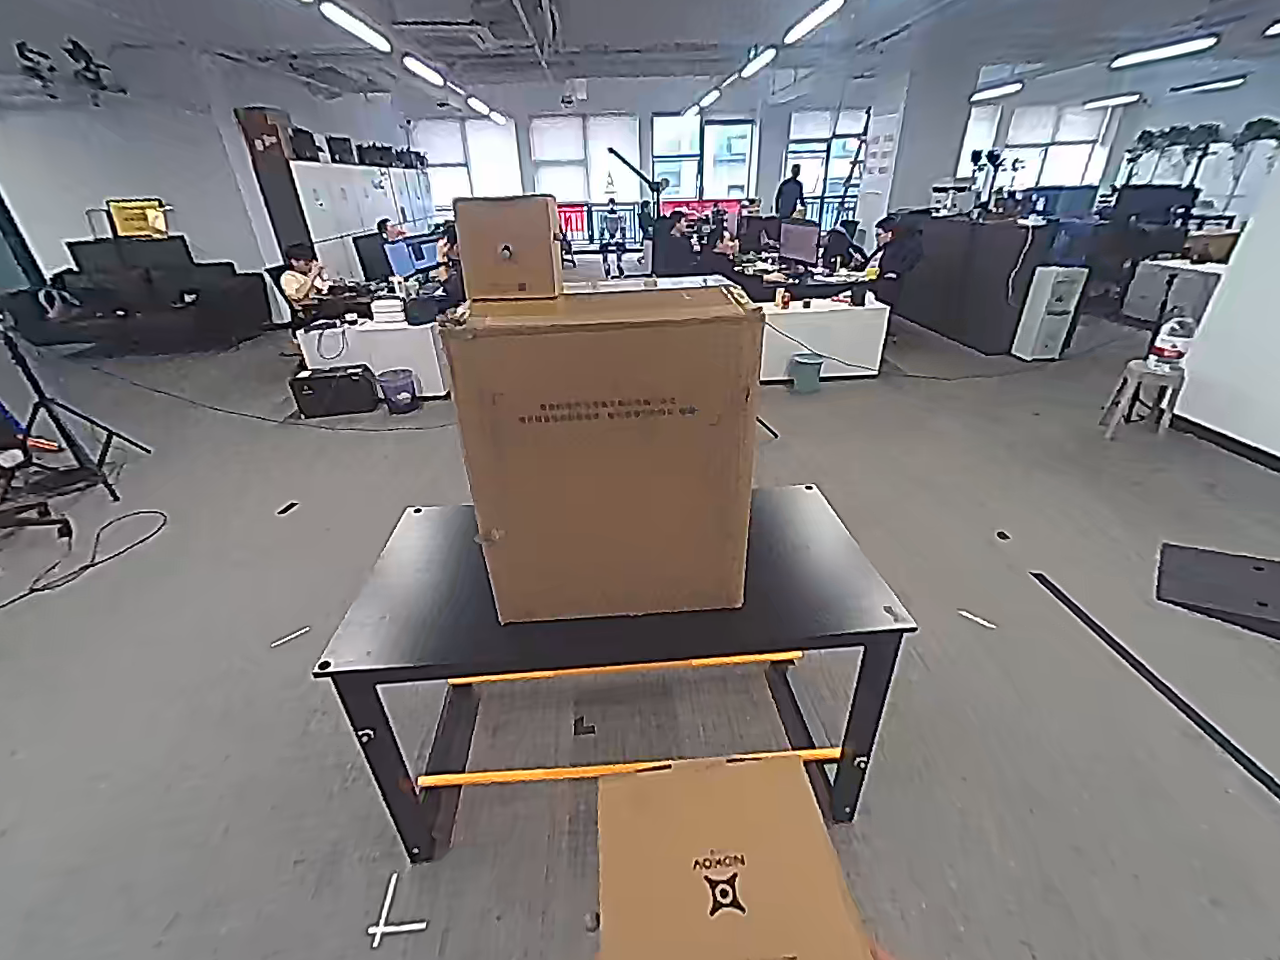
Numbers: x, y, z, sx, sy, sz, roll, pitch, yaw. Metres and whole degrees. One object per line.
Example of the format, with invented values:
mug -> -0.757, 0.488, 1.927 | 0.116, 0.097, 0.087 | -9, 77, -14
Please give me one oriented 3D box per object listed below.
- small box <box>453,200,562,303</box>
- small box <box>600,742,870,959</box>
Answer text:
small box -> -0.241, -0.435, 1.032 | 0.168, 0.176, 0.179 | -2, 28, -3
small box -> 0.055, 0.335, 0.413 | 0.168, 0.176, 0.179 | -4, 31, -3
